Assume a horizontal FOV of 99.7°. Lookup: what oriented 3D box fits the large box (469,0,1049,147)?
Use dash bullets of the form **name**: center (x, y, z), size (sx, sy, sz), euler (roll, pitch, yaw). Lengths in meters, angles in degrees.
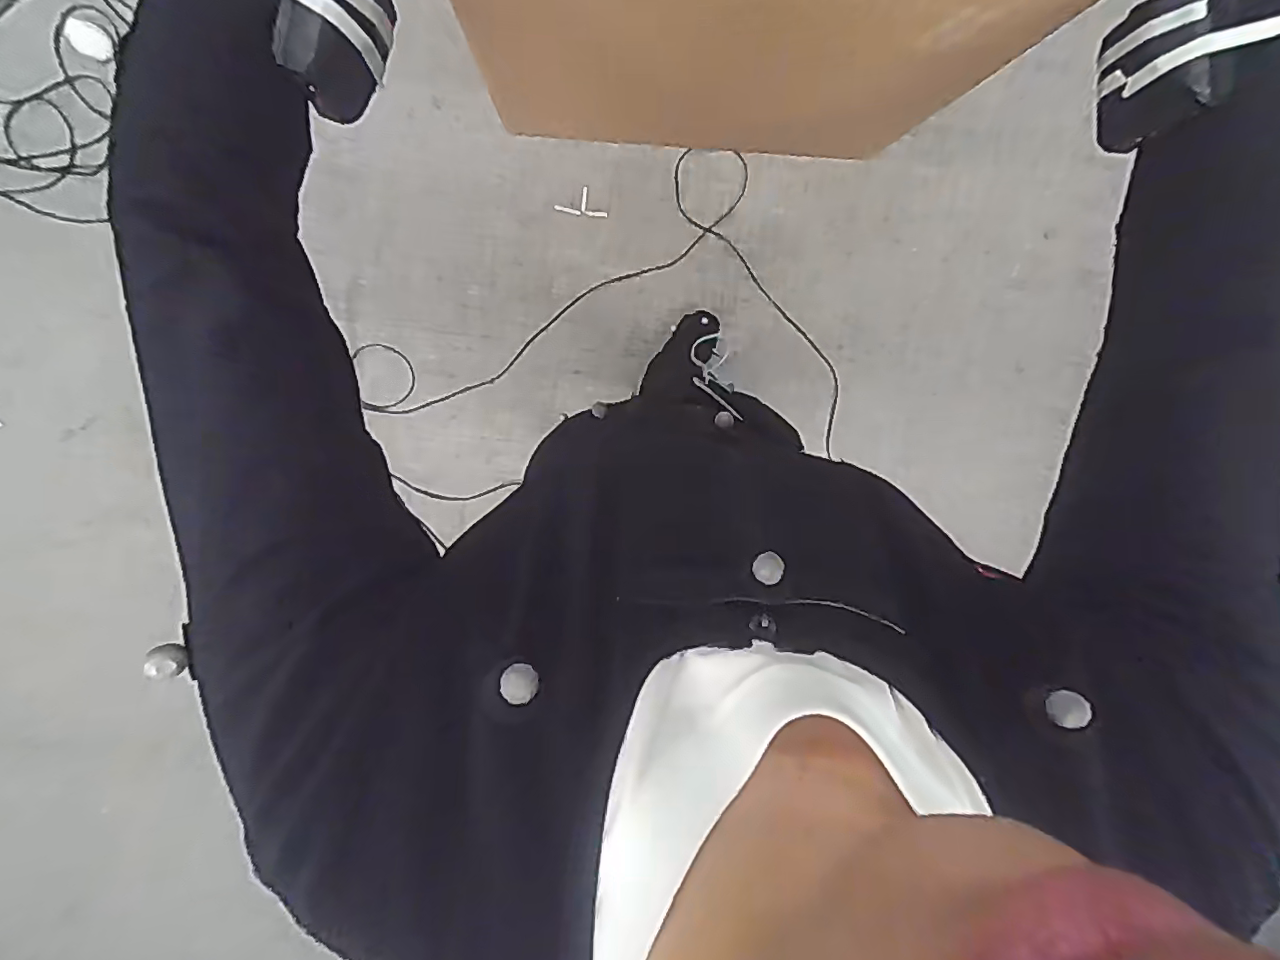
- **large box**: center (0.073, -0.485, 0.412), size (0.408, 0.320, 0.320), euler (0, 103, -6)
